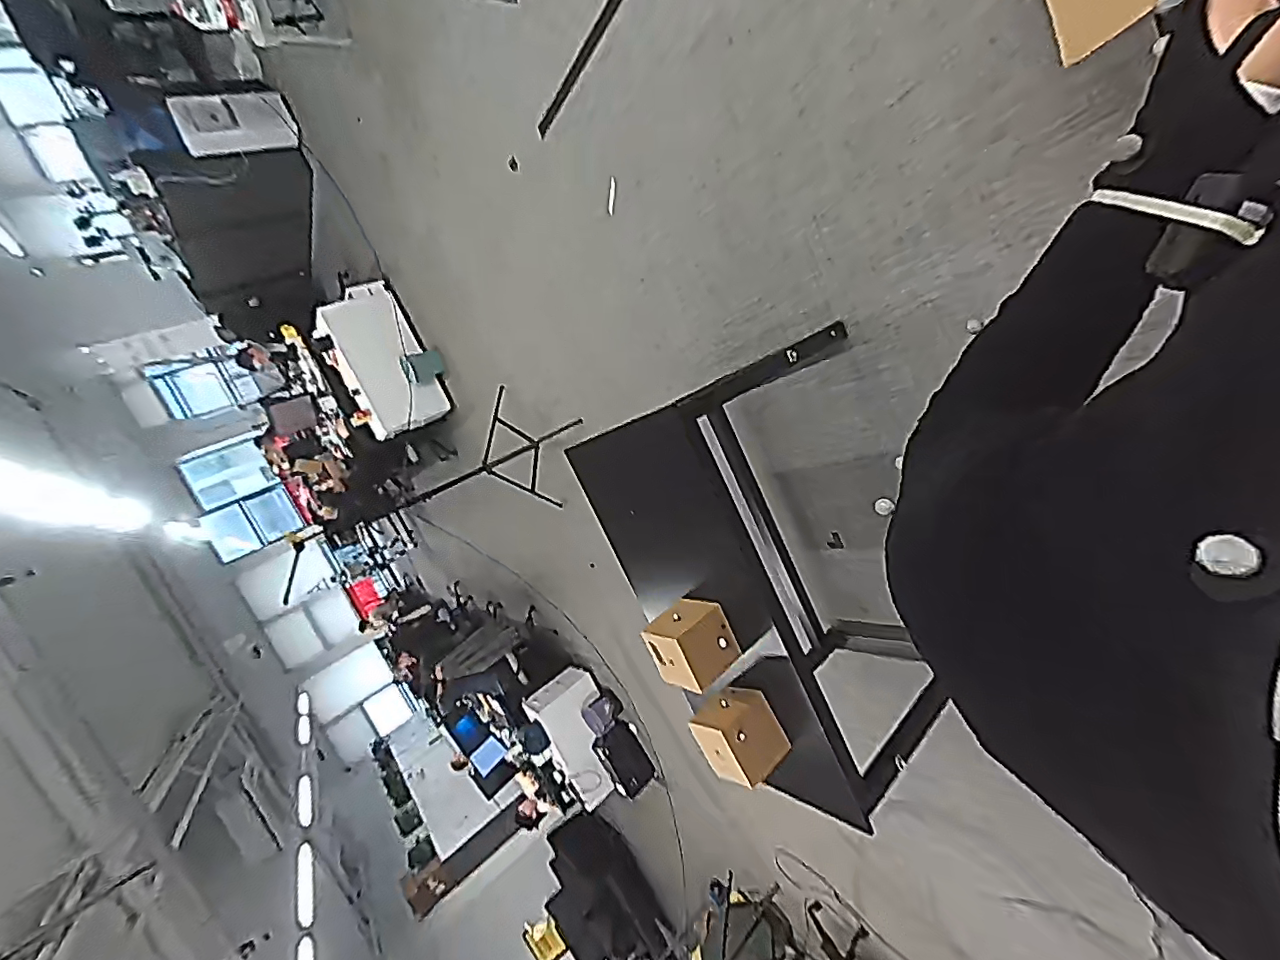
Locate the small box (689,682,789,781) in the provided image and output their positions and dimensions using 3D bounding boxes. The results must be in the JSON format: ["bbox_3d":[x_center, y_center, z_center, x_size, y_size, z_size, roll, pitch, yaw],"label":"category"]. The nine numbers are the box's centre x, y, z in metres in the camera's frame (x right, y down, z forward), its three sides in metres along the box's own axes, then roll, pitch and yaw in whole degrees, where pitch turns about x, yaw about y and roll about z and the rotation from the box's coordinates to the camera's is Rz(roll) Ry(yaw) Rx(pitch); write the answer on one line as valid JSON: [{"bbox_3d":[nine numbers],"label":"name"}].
[{"bbox_3d":[0.276,0.686,1.502,0.179,0.176,0.168,60,149,-2],"label":"small box"}]

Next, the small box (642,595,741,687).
[{"bbox_3d":[0.142,0.430,1.479,0.179,0.176,0.168,-12,106,57],"label":"small box"}]
